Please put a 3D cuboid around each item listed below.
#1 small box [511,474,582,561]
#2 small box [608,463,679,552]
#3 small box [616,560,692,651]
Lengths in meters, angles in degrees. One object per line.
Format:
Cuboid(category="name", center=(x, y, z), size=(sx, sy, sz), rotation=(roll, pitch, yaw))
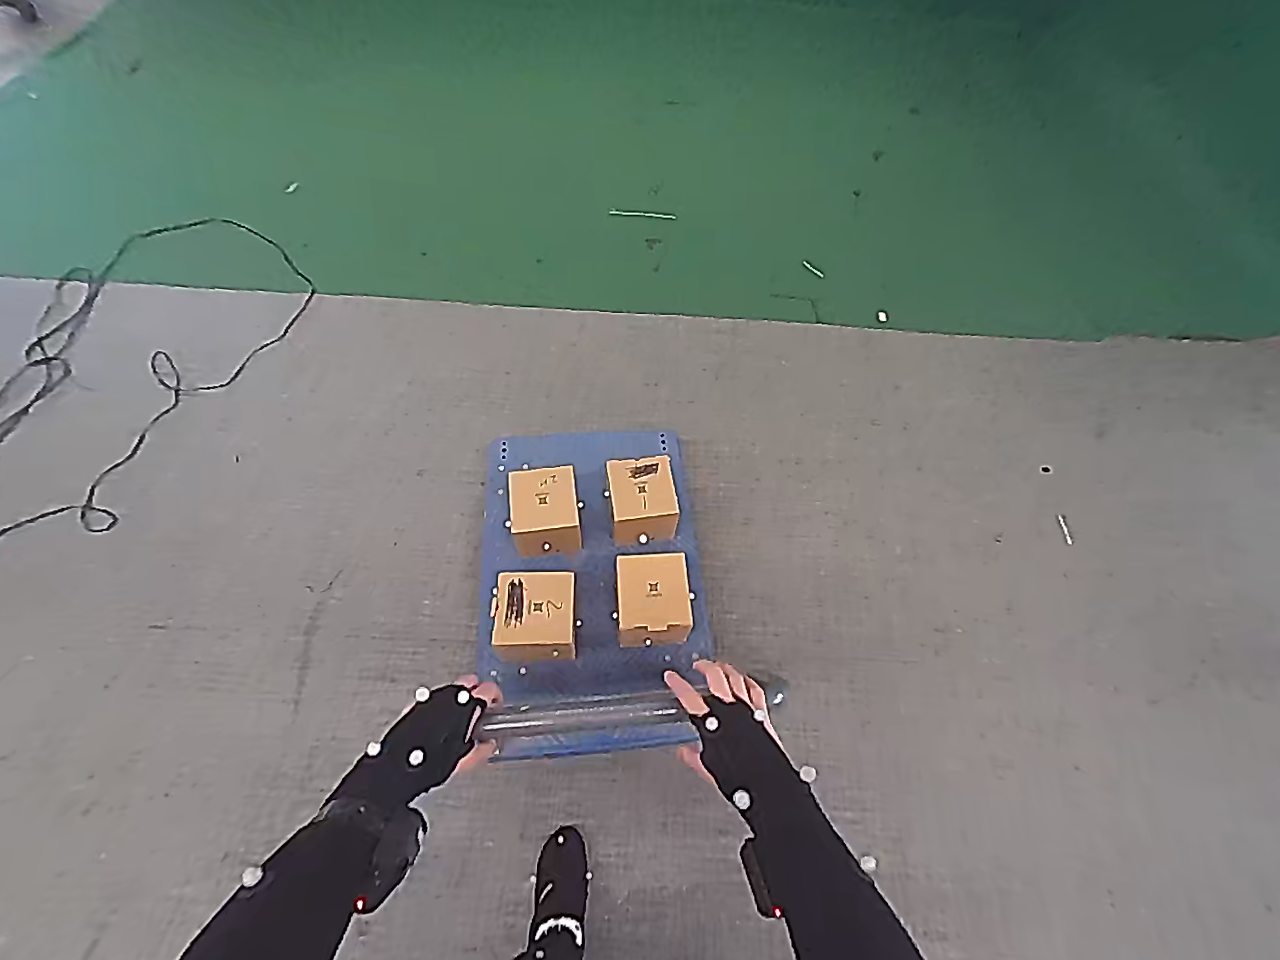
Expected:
Cuboid(category="small box", center=(-0.245, 0.105, 1.434), size=(0.168, 0.176, 0.179), rotation=(-6, 60, -8))
Cuboid(category="small box", center=(0.003, 0.077, 1.465), size=(0.168, 0.176, 0.179), rotation=(-6, 61, -6))
Cuboid(category="small box", center=(0.028, 0.310, 1.330), size=(0.168, 0.176, 0.179), rotation=(-2, 60, -5))
